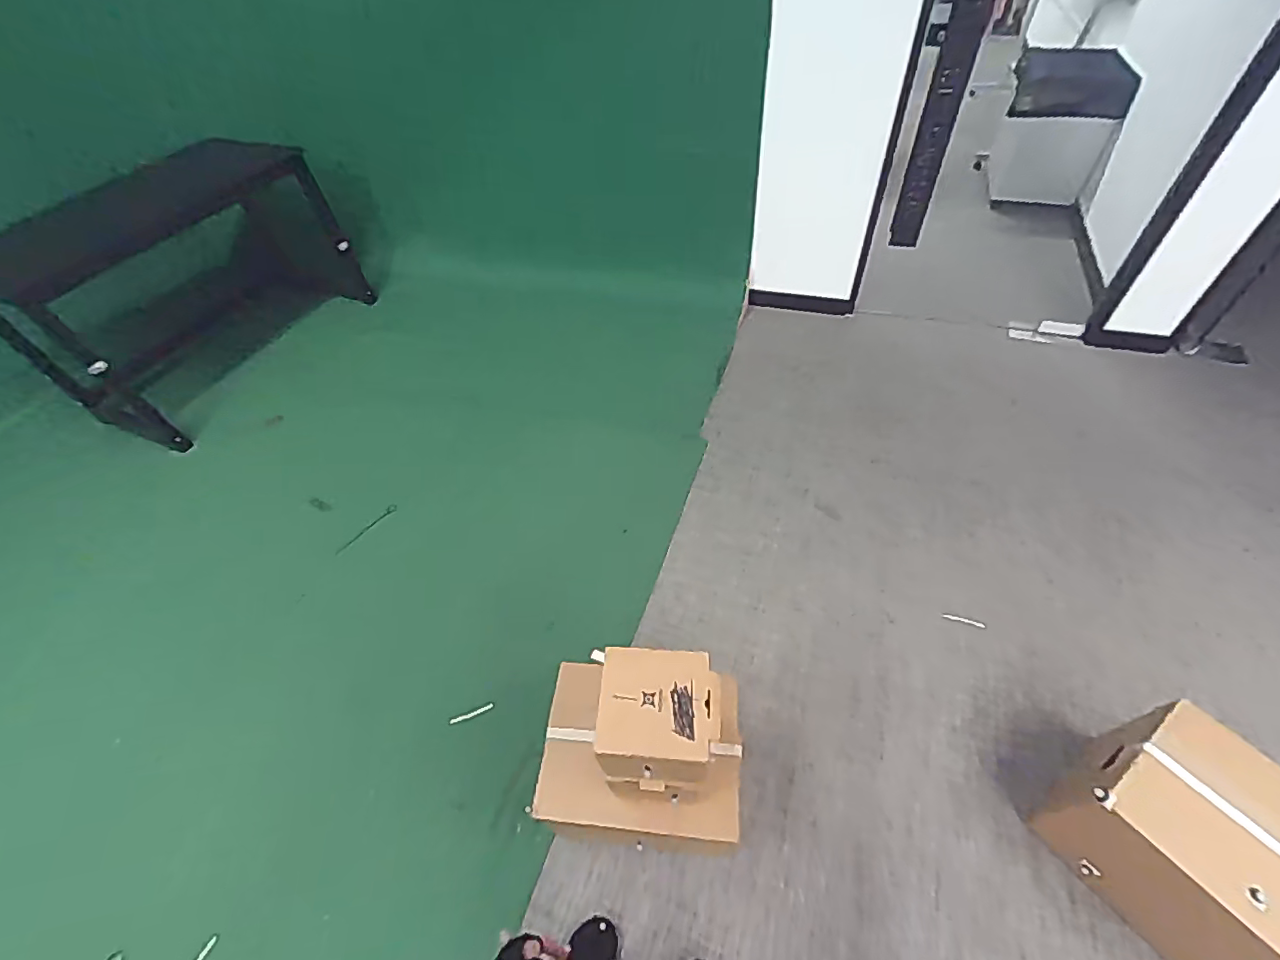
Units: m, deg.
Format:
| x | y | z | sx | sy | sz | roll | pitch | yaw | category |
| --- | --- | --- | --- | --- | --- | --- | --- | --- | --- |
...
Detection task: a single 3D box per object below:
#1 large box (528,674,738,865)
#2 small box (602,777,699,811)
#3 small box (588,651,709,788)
| x | y | z | sx | sy | sz | roll | pitch | yaw | category |
| --- | --- | --- | --- | --- | --- | --- | --- | --- | --- |
| 0.009 | 0.654 | 1.219 | 0.408 | 0.320 | 0.320 | 1 | 49 | 8 | large box |
| 0.031 | 0.507 | 1.020 | 0.168 | 0.176 | 0.179 | 3 | 50 | 7 | small box |
| 0.023 | 0.399 | 0.896 | 0.179 | 0.176 | 0.168 | 1 | 50 | 7 | small box |
